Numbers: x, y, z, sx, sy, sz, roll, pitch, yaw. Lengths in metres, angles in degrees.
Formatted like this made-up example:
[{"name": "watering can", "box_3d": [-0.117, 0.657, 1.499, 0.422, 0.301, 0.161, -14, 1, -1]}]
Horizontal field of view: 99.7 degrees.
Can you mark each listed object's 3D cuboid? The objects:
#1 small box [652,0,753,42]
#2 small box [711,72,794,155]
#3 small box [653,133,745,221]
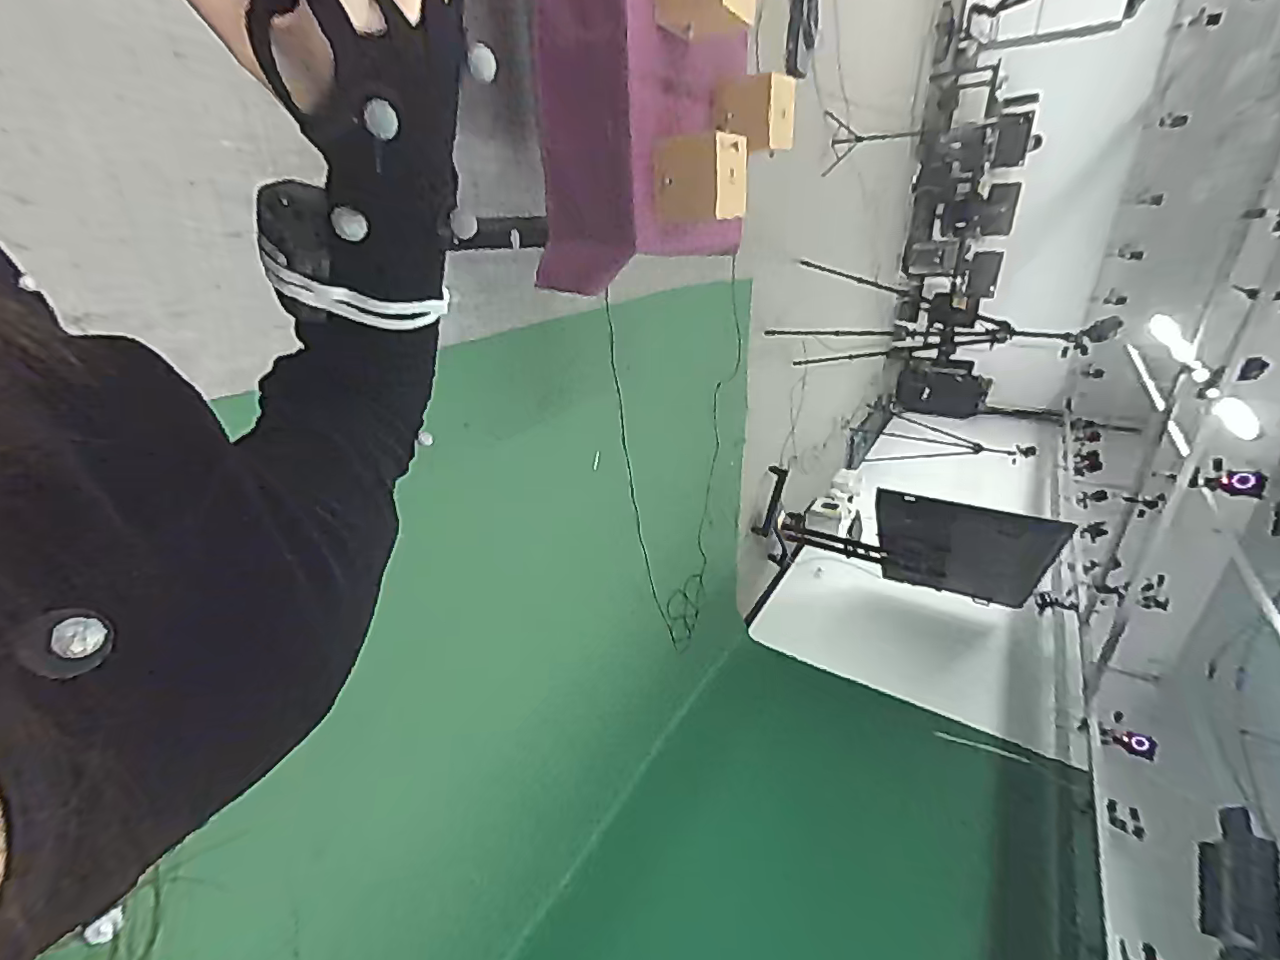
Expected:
[{"name": "small box", "box_3d": [0.137, -1.091, 1.169, 0.168, 0.176, 0.179, -31, 128, -50]}, {"name": "small box", "box_3d": [0.305, -0.991, 1.477, 0.179, 0.176, 0.168, -37, 131, -46]}, {"name": "small box", "box_3d": [0.143, -0.730, 1.319, 0.168, 0.176, 0.179, -36, 131, -48]}]
